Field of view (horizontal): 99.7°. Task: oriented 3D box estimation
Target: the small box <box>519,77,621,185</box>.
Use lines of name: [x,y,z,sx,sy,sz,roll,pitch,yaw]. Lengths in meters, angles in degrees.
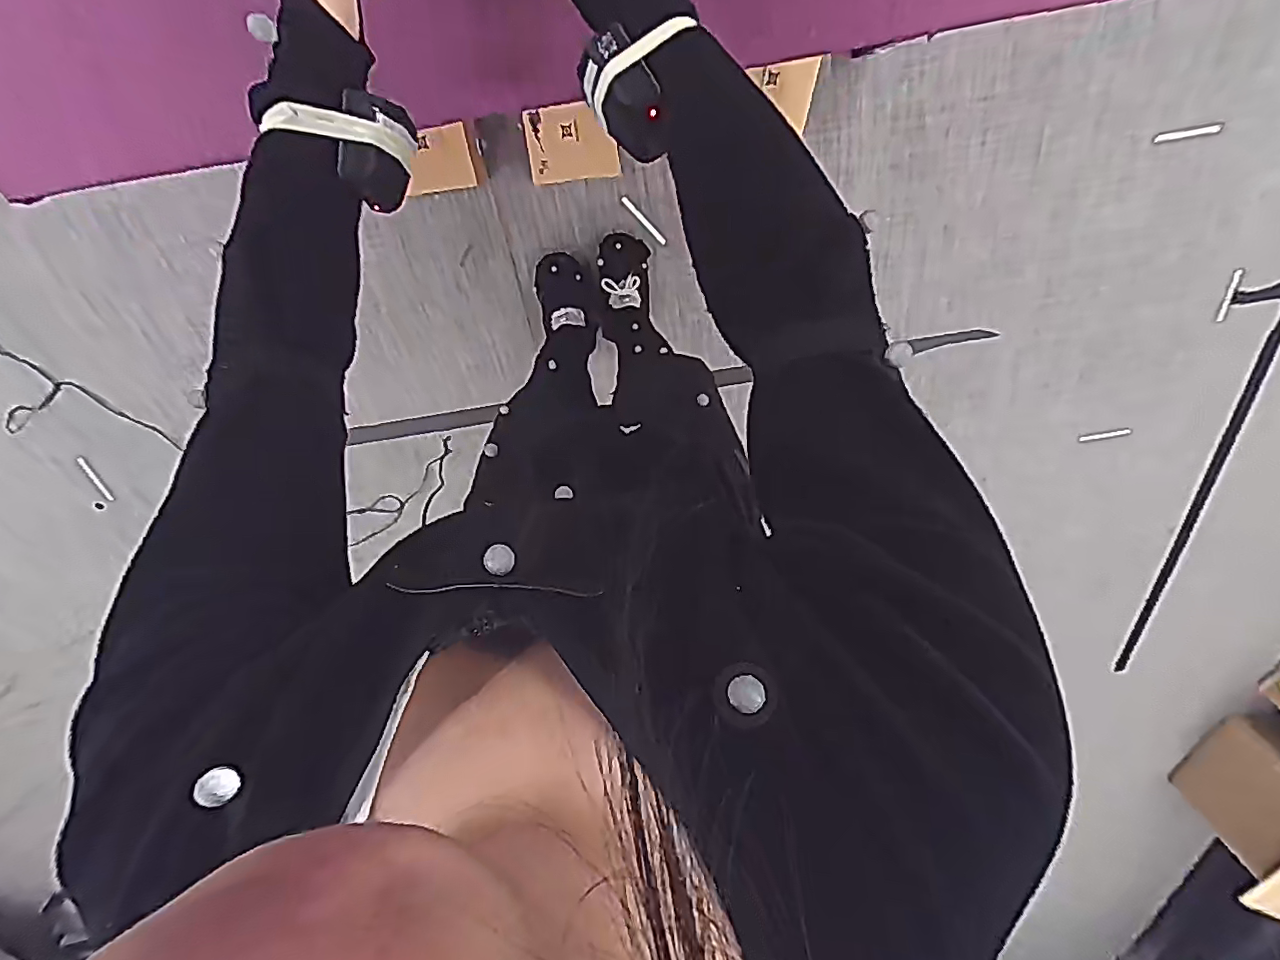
small box: [-0.135,-0.698,1.086,0.179,0.176,0.168,-6,122,-2]
